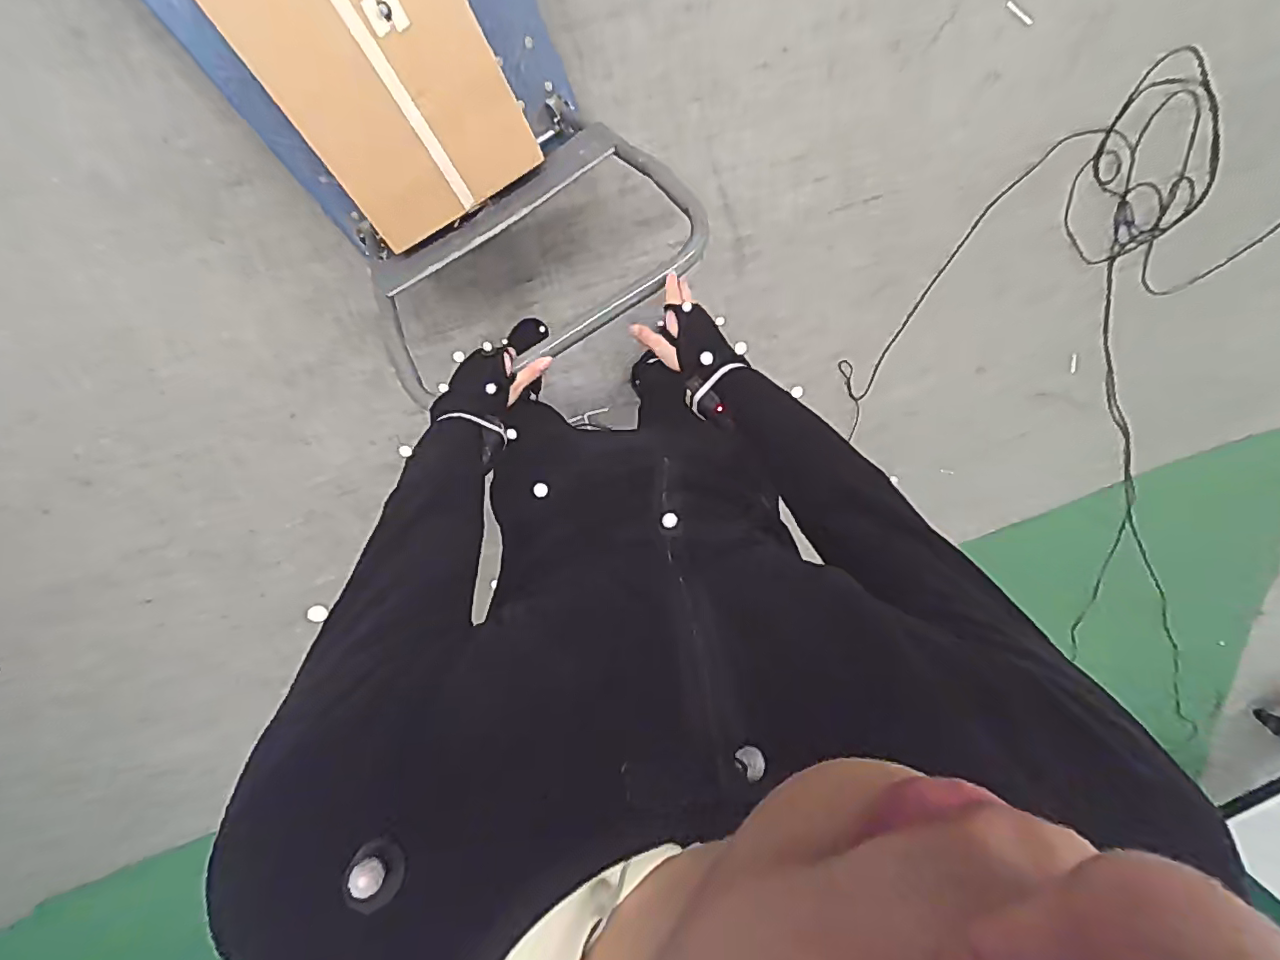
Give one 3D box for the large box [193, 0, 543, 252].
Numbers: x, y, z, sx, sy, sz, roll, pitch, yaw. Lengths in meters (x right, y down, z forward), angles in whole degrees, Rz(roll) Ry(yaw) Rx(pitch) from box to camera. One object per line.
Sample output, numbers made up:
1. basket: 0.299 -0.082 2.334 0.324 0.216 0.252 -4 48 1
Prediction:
1. large box: -0.426 -0.682 0.915 0.320 0.320 0.408 -33 135 0
